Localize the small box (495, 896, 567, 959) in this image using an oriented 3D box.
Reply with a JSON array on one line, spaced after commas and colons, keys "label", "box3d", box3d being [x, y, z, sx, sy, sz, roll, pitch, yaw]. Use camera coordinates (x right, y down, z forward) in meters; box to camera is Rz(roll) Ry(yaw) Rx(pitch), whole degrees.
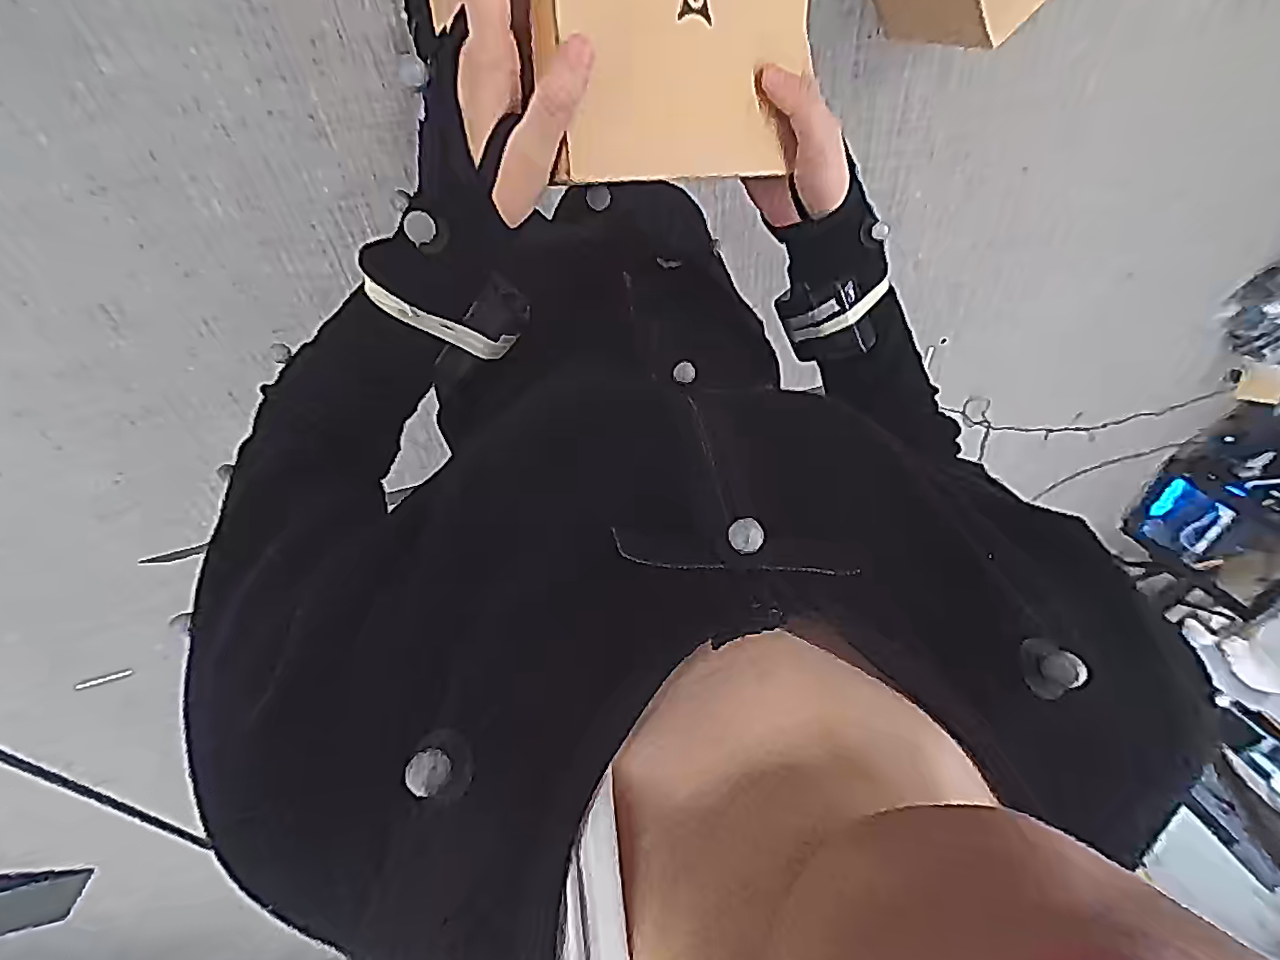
[{"label": "small box", "box3d": [-0.292, 1.271, 1.472, 0.168, 0.176, 0.179, -12, 133, -14]}]
